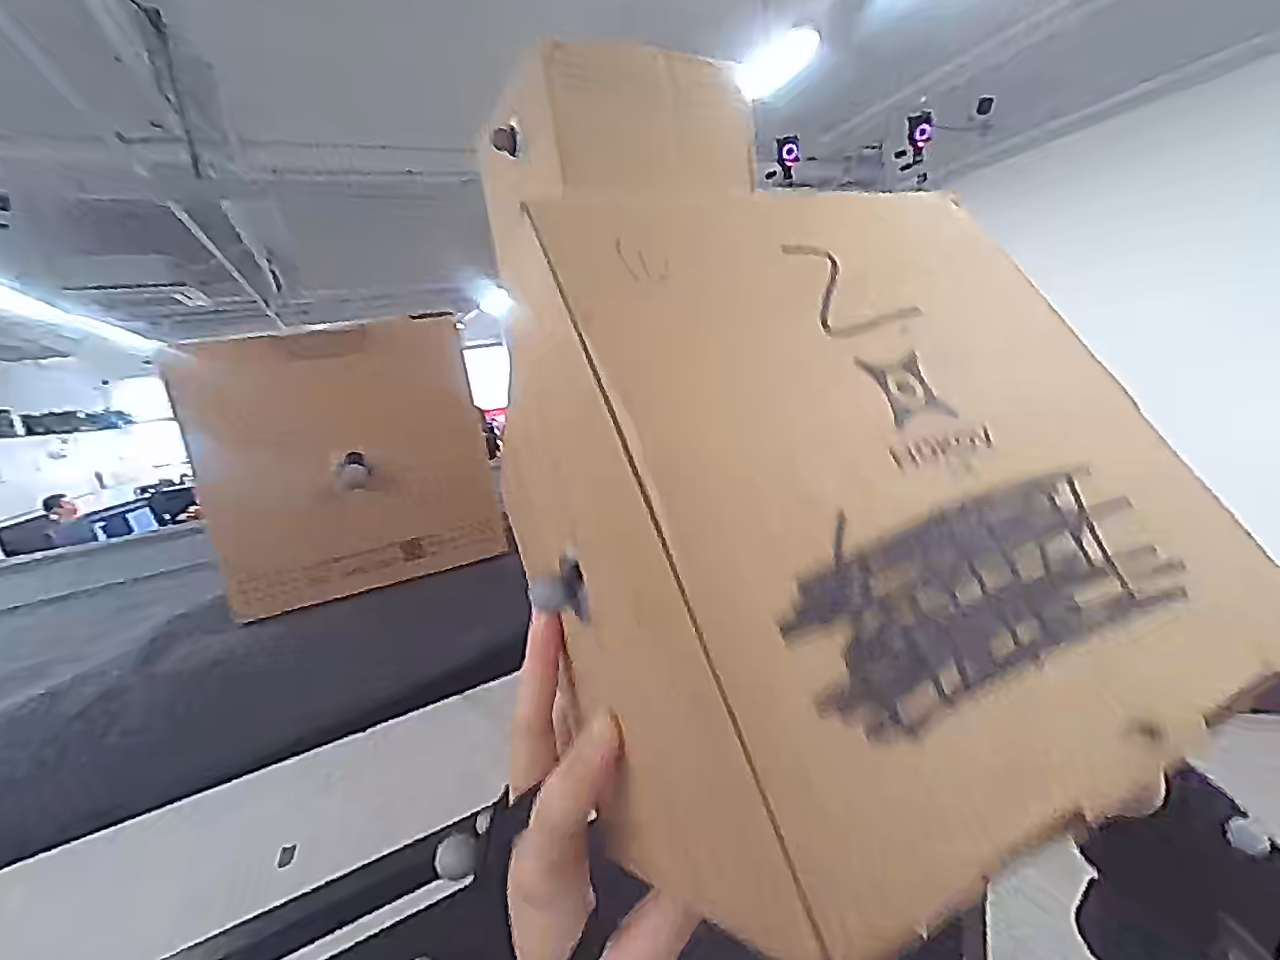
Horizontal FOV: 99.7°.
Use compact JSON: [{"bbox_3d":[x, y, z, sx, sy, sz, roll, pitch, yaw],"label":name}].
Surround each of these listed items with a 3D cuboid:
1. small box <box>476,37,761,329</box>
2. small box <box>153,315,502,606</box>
[{"bbox_3d":[-0.022,-0.234,0.464,0.179,0.176,0.168,-15,12,-28],"label":"small box"},{"bbox_3d":[-0.213,-0.019,0.414,0.168,0.176,0.179,-13,12,-22],"label":"small box"}]
